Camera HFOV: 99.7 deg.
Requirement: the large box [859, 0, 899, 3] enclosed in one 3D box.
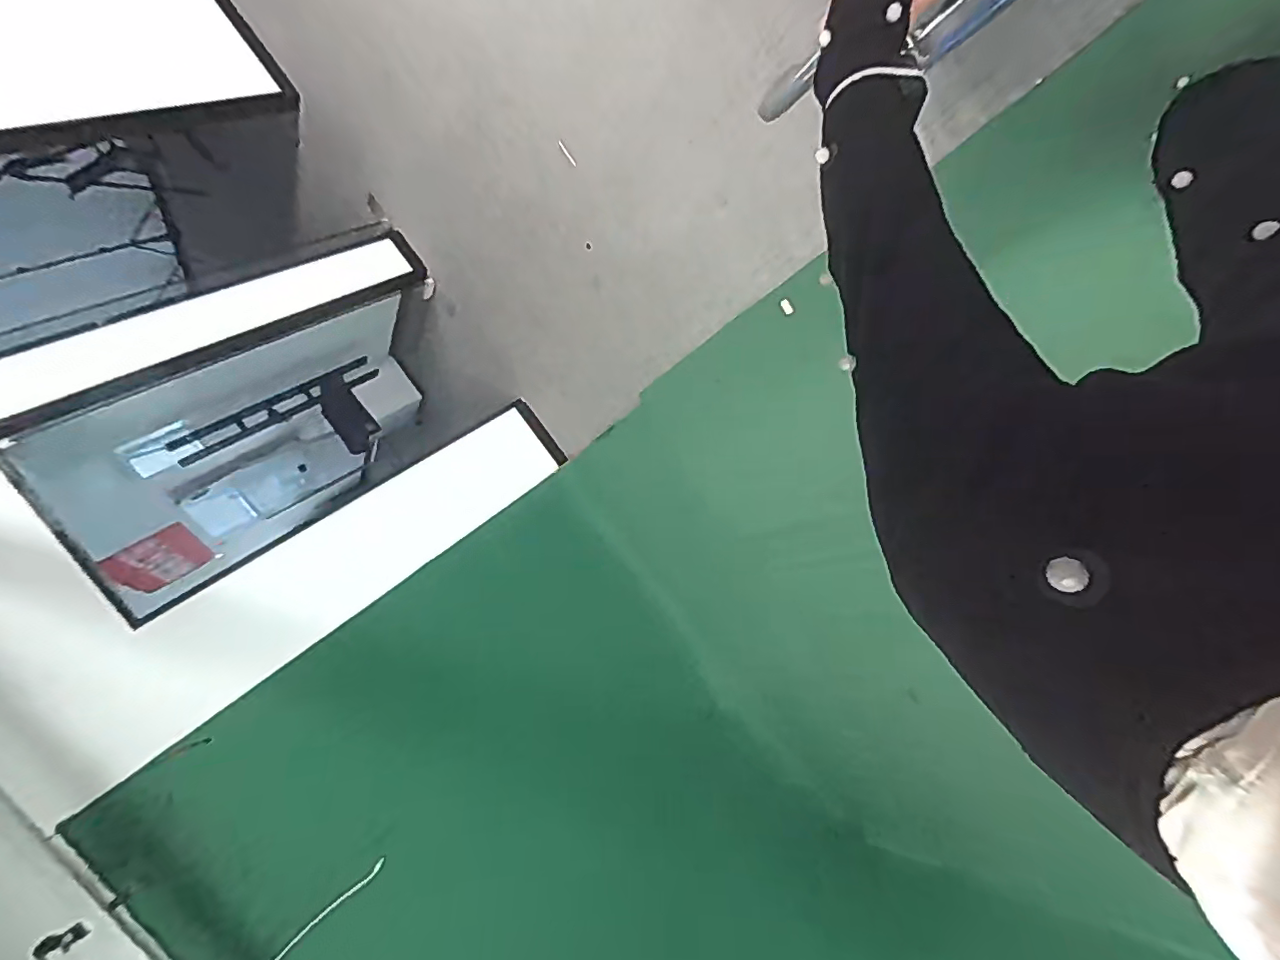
[{"bbox_3d":[0.437,-1.039,0.803,0.320,0.320,0.408,-18,107,54],"label":"large box"}]
